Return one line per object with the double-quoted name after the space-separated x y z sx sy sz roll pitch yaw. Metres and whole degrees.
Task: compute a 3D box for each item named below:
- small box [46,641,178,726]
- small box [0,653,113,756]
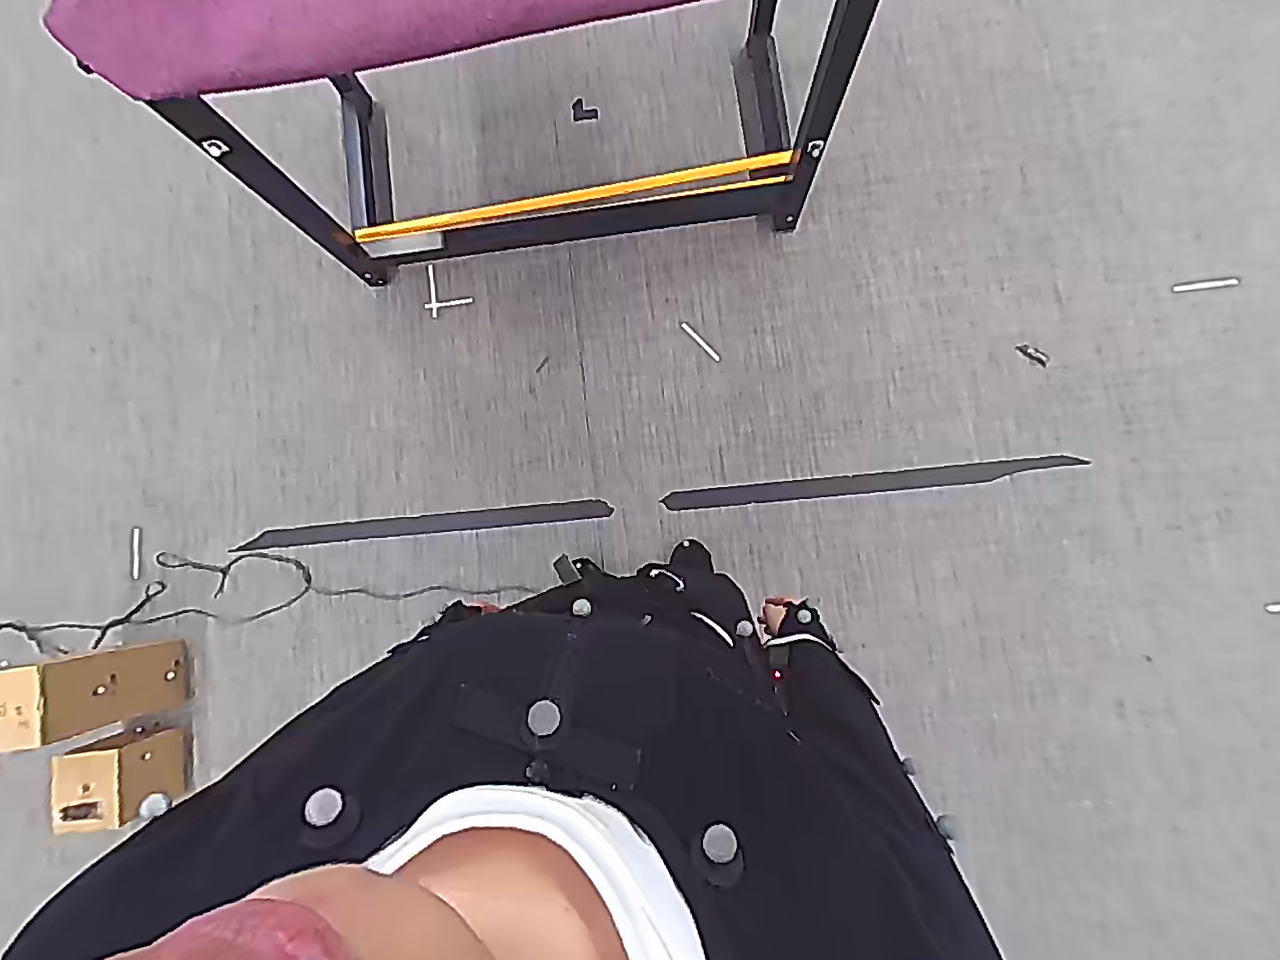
-1.291 0.499 1.324 0.179 0.176 0.168 -7 83 1 "small box"
-1.299 0.479 1.161 0.179 0.176 0.168 -8 84 1 "small box"
